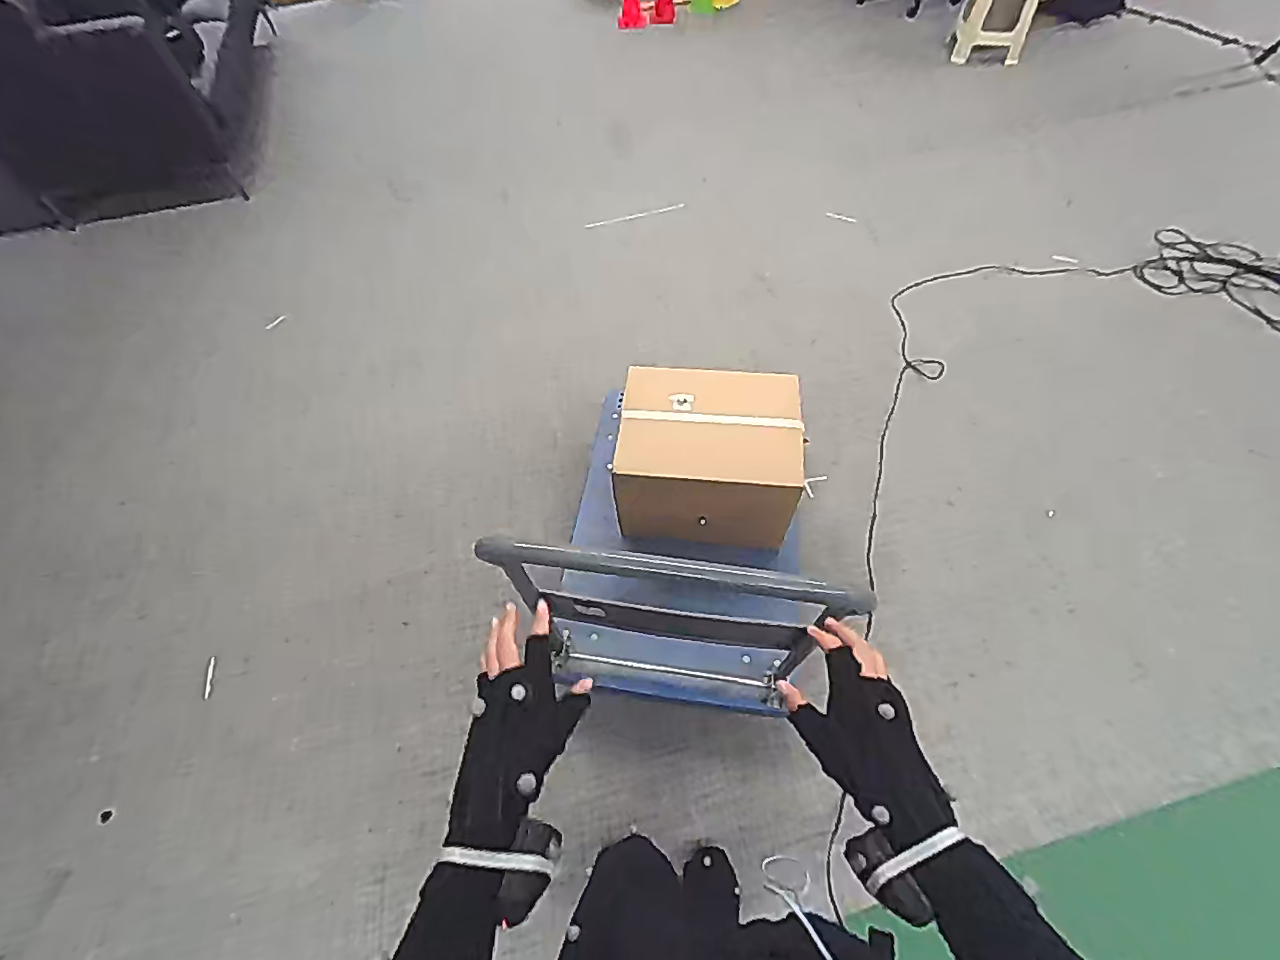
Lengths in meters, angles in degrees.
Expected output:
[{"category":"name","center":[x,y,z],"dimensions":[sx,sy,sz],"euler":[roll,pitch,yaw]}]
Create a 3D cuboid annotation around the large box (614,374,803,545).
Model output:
[{"category":"large box","center":[0.165,-0.045,1.343],"dimensions":[0.408,0.320,0.320],"euler":[3,57,6]}]
